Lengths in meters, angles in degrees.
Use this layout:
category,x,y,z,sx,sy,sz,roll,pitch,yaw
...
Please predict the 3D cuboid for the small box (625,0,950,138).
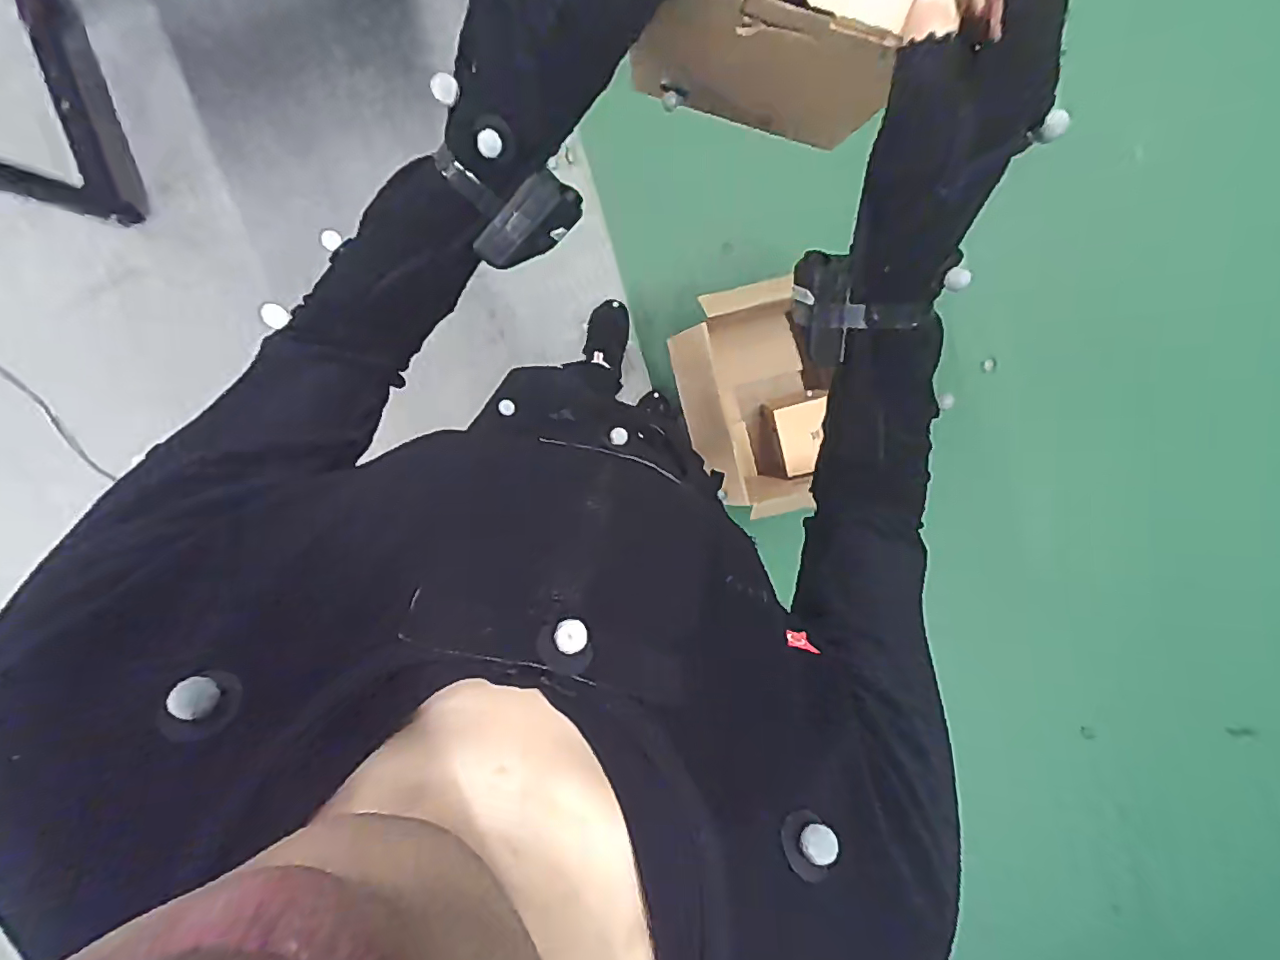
category,x,y,z,sx,sy,sz,roll,pitch,yaw
small box,0.090,-0.336,0.317,0.168,0.176,0.179,14,105,-5
